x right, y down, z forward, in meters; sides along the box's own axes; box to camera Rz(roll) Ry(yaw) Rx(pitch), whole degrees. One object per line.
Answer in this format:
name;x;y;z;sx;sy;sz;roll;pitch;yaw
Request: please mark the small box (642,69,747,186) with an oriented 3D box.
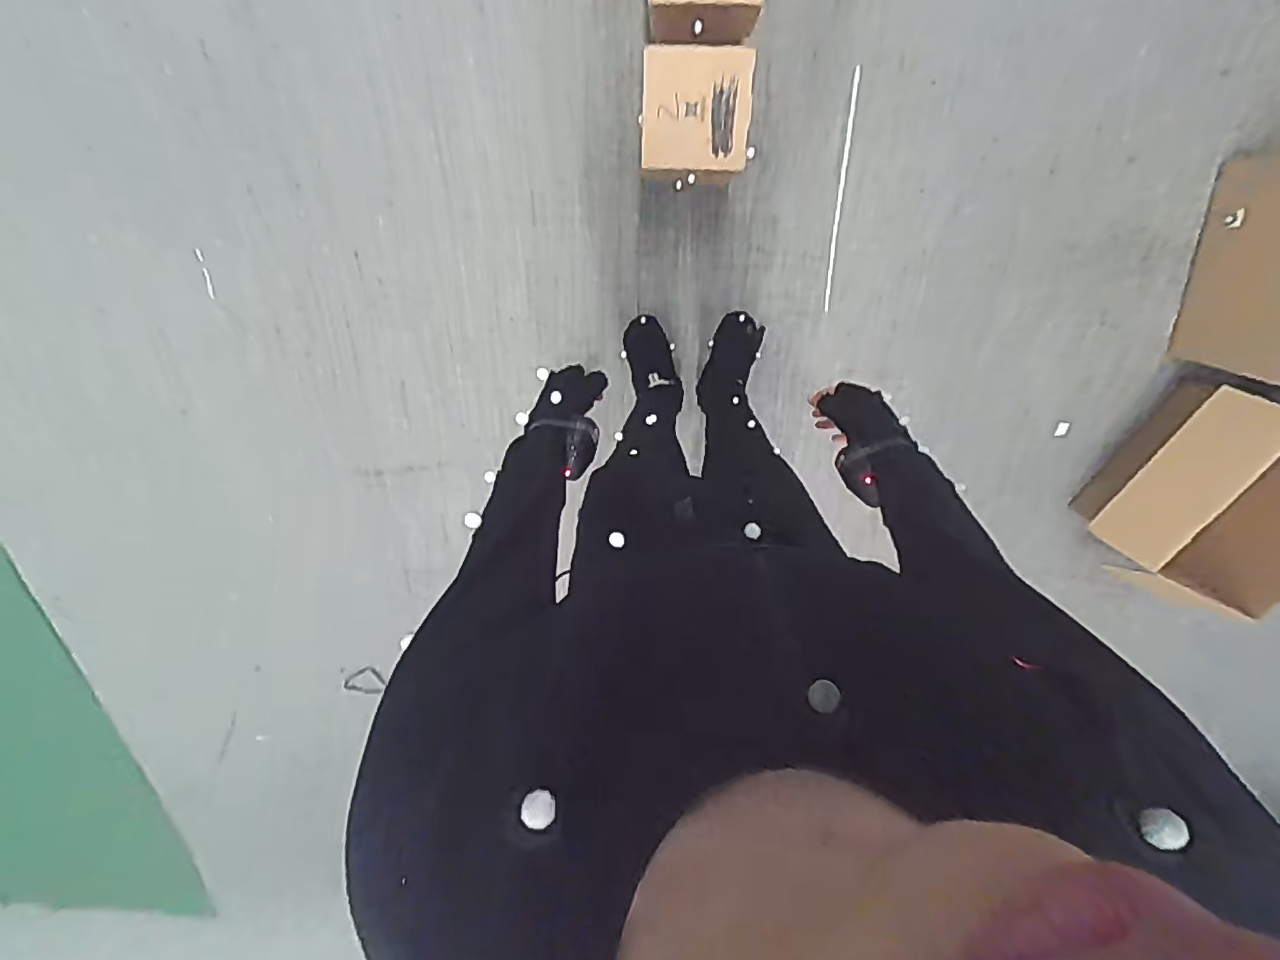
small box;0.104;-0.690;1.077;0.179;0.176;0.168;7;116;1
